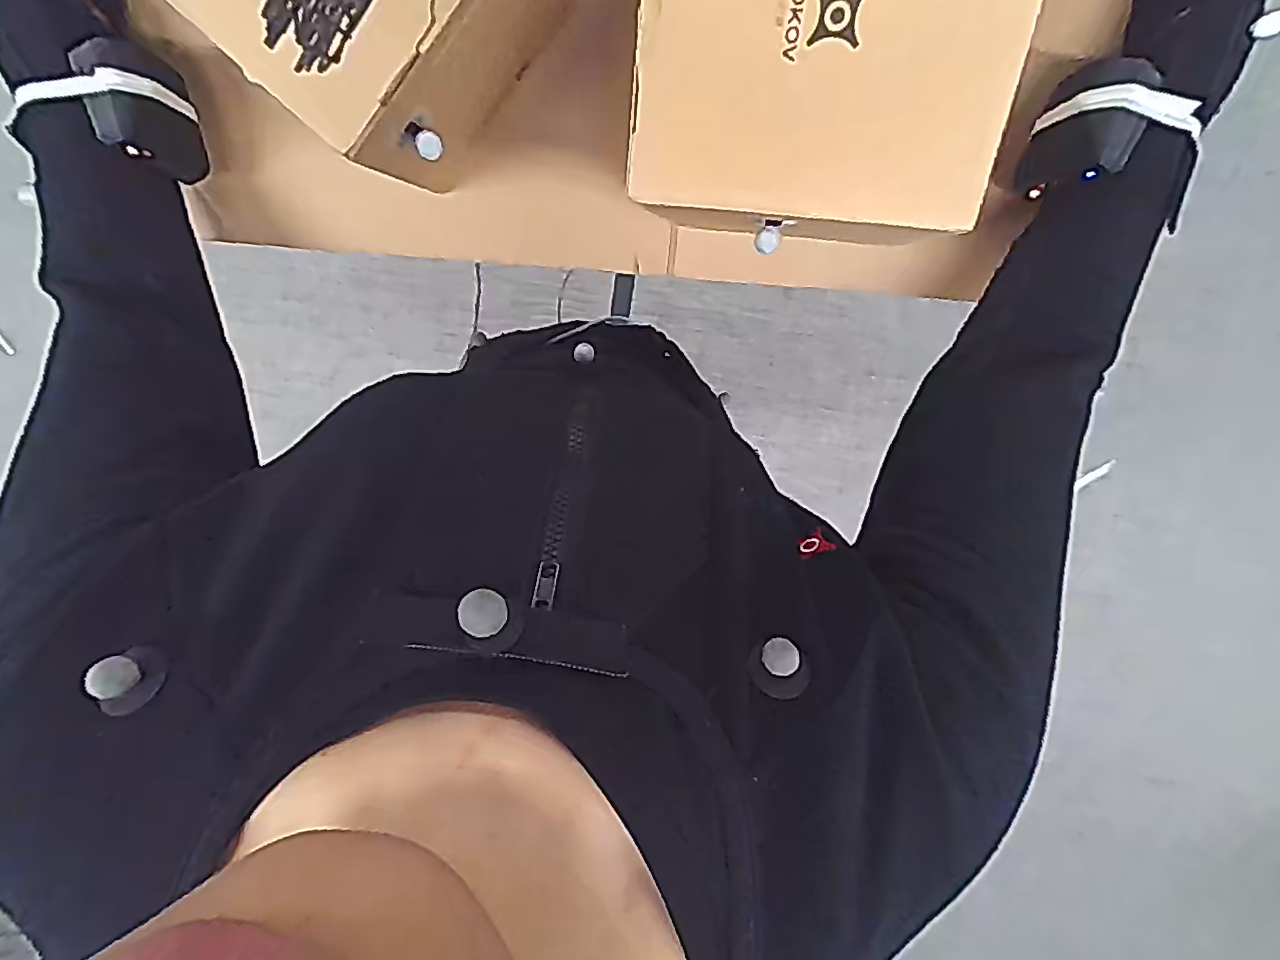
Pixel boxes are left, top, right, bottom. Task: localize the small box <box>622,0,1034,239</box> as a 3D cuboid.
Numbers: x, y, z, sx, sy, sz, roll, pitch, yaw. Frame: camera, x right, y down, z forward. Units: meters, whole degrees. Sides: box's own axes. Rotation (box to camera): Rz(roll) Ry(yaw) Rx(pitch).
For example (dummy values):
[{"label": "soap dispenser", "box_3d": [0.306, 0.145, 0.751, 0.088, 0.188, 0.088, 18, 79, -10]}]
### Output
[{"label": "small box", "box_3d": [0.101, -0.241, 0.319, 0.179, 0.176, 0.168, 11, 113, 10]}]
